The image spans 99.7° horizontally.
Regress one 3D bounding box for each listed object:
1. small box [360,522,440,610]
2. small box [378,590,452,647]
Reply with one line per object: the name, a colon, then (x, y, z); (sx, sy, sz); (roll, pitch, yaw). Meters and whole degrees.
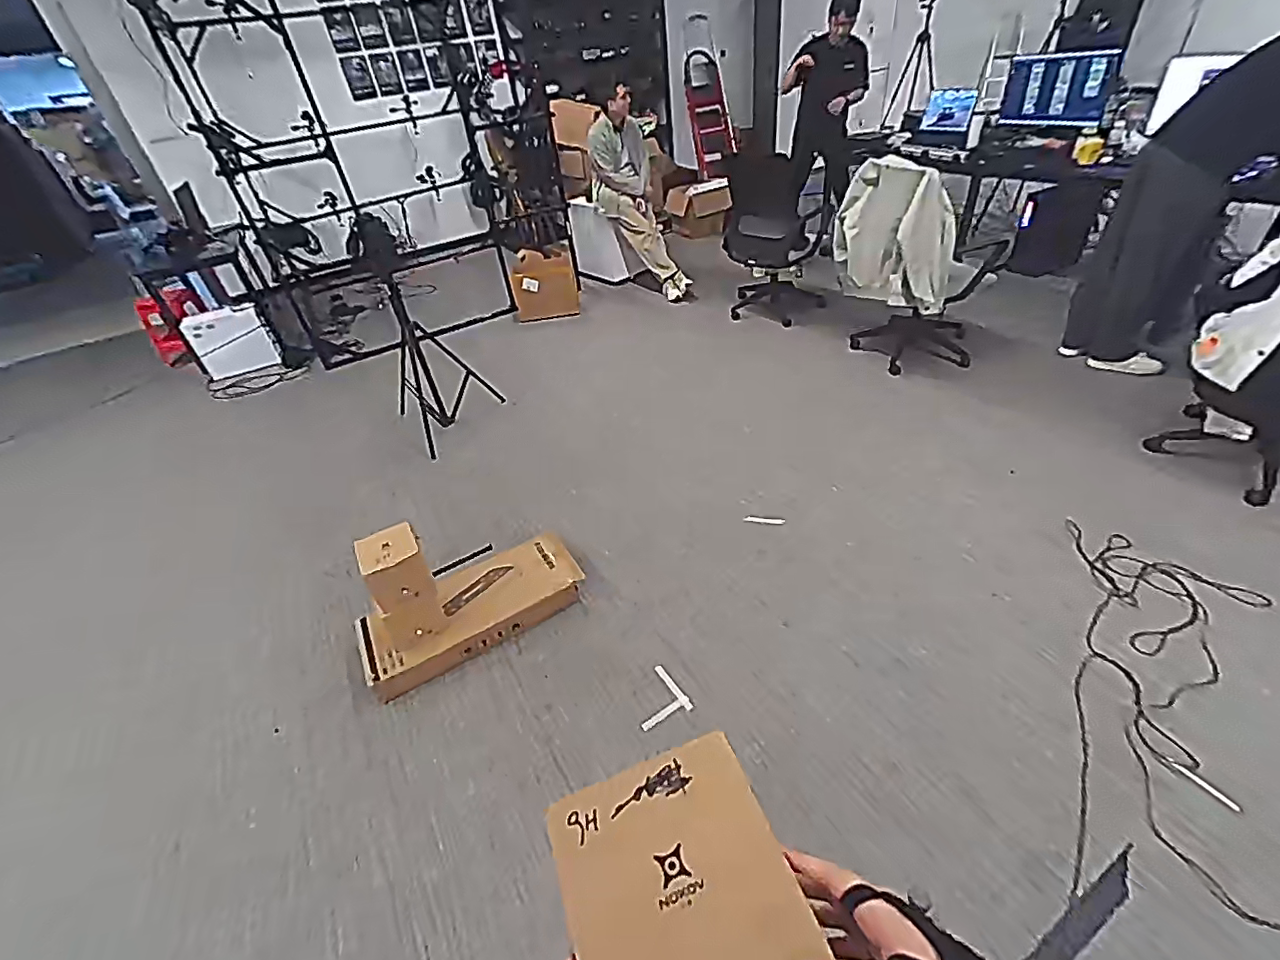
small box: (-0.740, 0.266, 1.669); (0.168, 0.176, 0.179); (-24, 41, -20)
small box: (-0.734, 0.406, 1.758); (0.168, 0.176, 0.179); (-26, 42, -21)
